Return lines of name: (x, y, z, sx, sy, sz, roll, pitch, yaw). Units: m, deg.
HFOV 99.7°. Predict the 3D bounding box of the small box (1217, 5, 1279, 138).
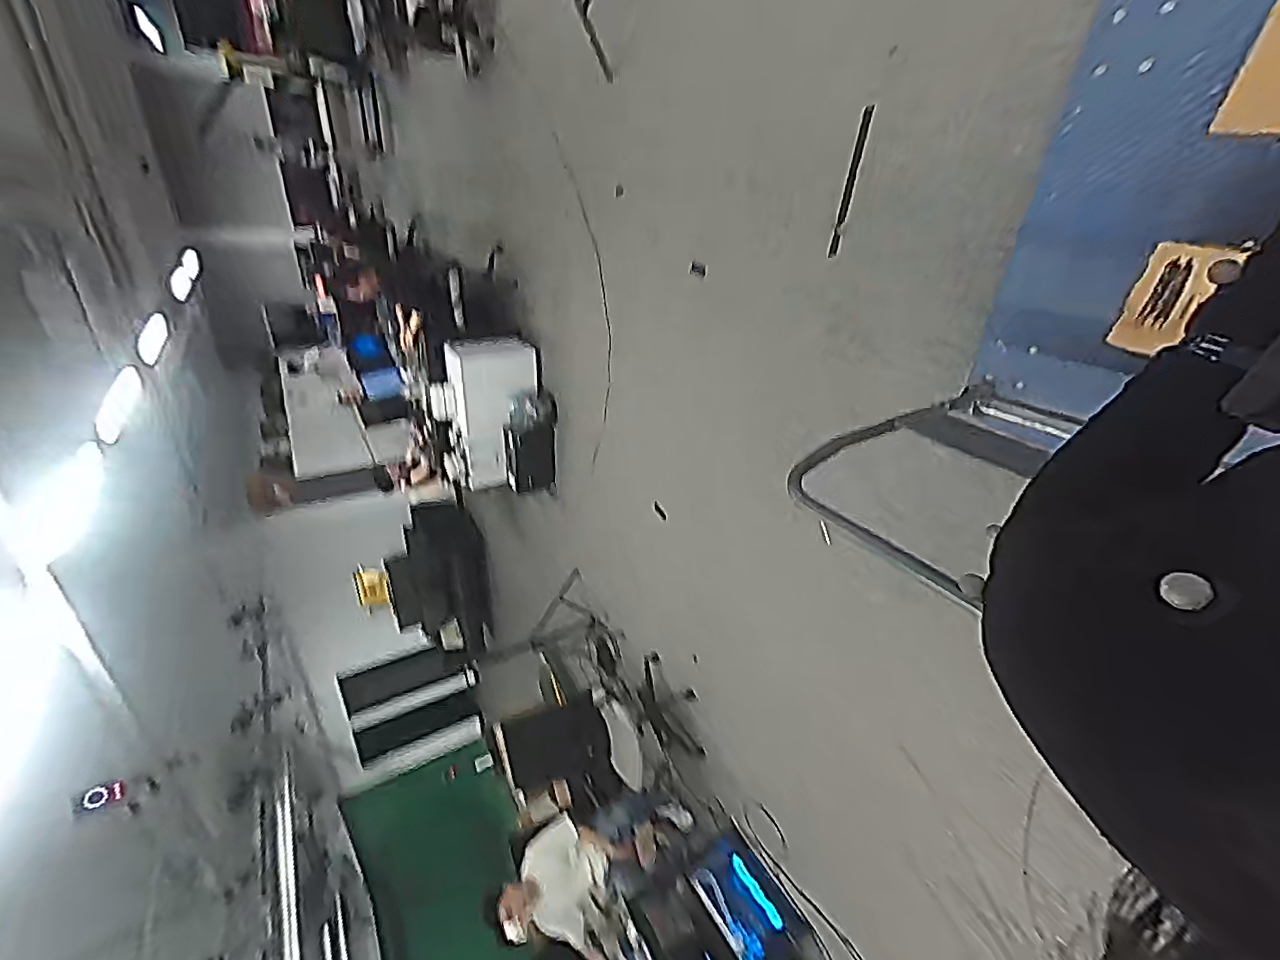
small box: (0.944, -0.551, 0.710, 0.179, 0.176, 0.168, 42, 137, 45)
